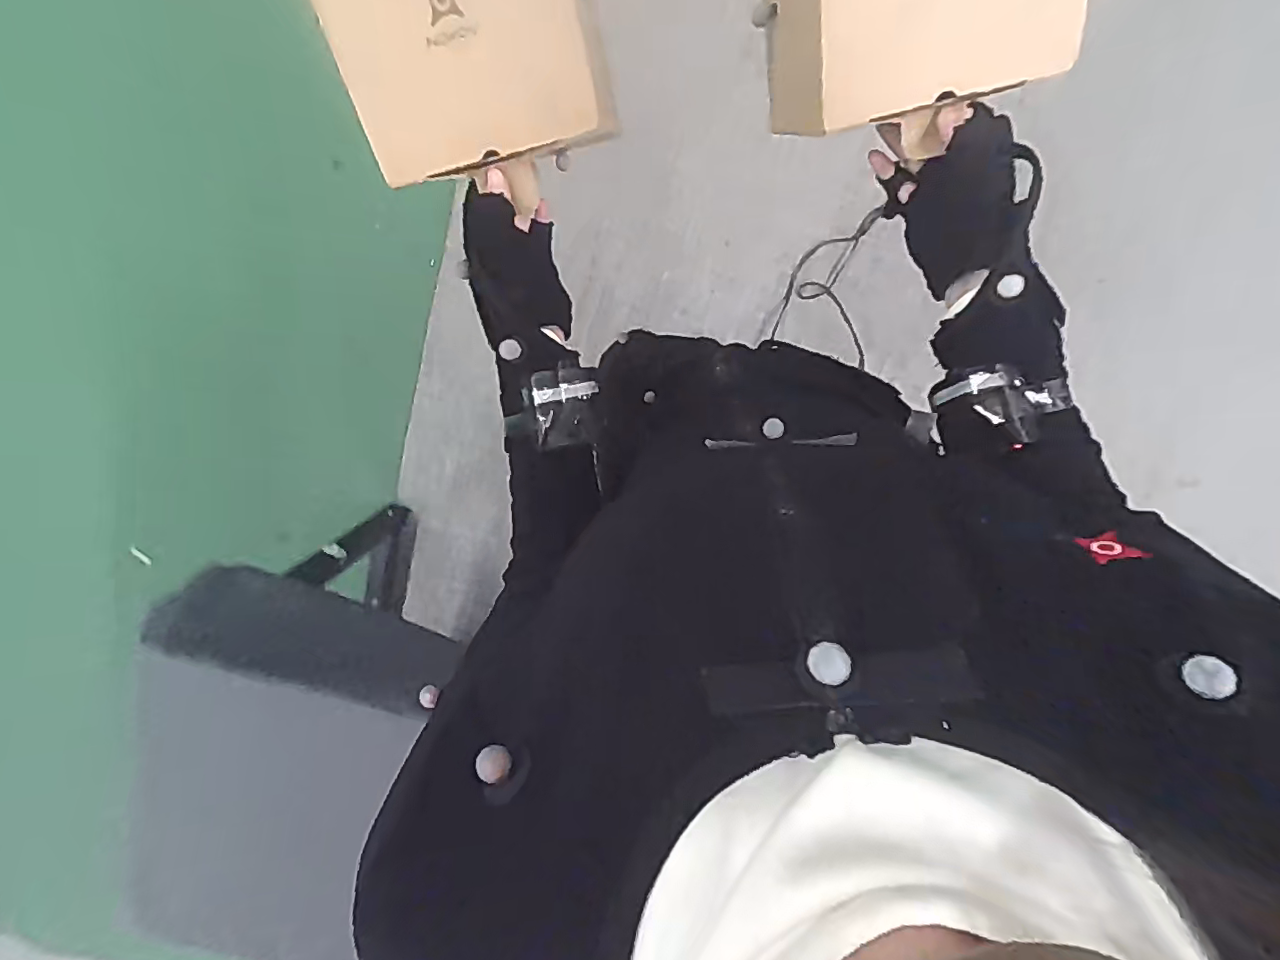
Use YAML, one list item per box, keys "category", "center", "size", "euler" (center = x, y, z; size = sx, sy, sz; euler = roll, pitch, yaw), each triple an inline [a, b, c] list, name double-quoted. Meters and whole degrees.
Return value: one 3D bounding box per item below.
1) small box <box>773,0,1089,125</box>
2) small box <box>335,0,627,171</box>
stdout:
- category: "small box"
  center: [0.196, -0.378, 0.391]
  size: [0.168, 0.176, 0.179]
  euler: [-10, 123, 6]
- category: "small box"
  center: [-0.110, -0.353, 0.409]
  size: [0.168, 0.176, 0.179]
  euler: [-9, 120, 9]
